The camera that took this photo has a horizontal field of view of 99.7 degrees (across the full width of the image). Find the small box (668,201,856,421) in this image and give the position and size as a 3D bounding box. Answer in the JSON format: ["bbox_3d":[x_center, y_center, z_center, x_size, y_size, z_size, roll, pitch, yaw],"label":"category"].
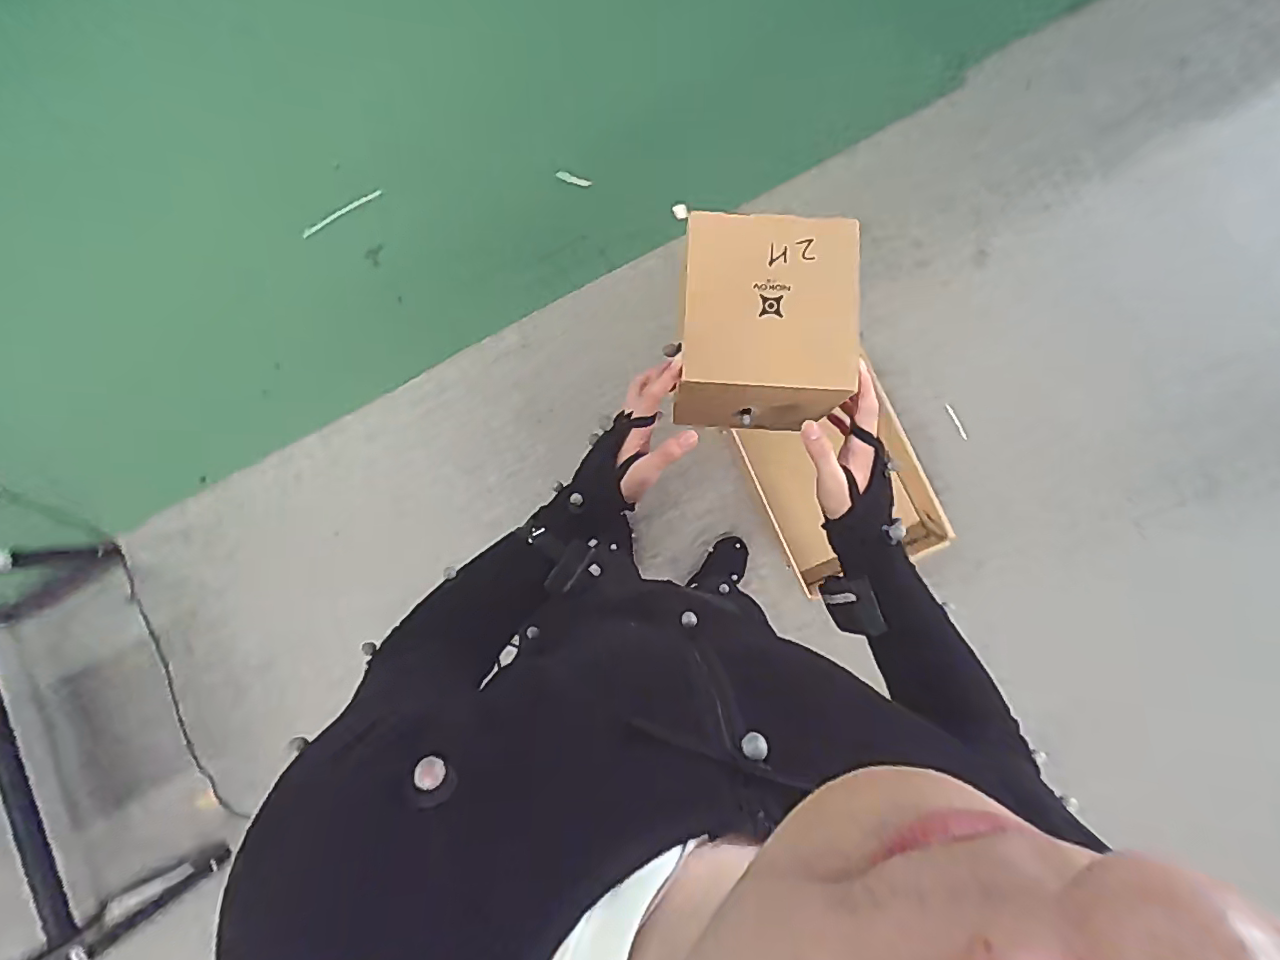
[{"bbox_3d":[0.118,-0.166,0.581,0.168,0.176,0.179,3,82,0],"label":"small box"}]
